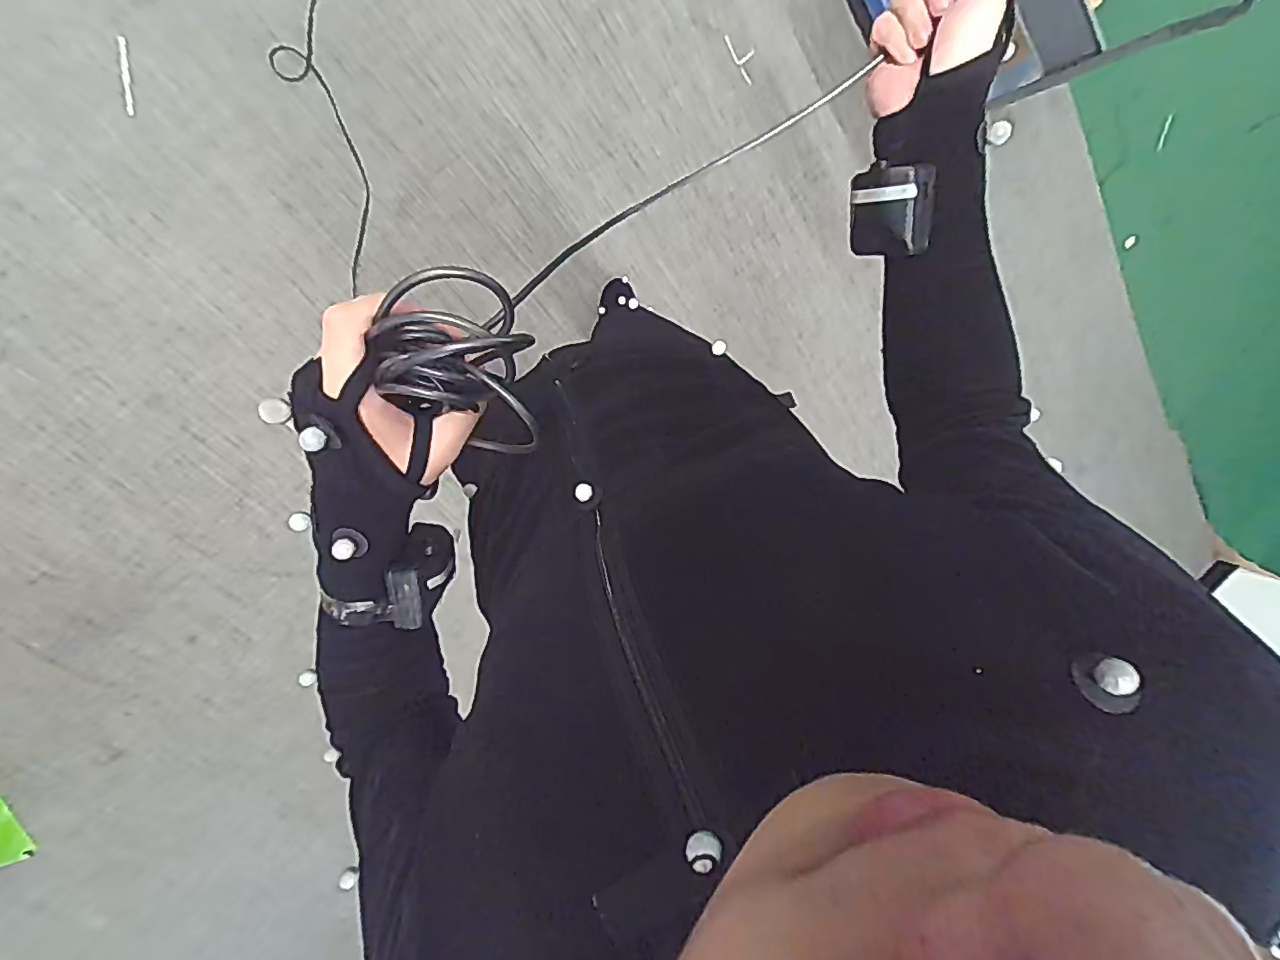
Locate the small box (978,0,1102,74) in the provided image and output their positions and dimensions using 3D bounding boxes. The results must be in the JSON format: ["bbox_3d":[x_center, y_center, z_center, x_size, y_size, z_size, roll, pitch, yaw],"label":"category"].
[{"bbox_3d":[1.029,-1.213,1.401,0.179,0.176,0.168,-42,112,-2],"label":"small box"}]
